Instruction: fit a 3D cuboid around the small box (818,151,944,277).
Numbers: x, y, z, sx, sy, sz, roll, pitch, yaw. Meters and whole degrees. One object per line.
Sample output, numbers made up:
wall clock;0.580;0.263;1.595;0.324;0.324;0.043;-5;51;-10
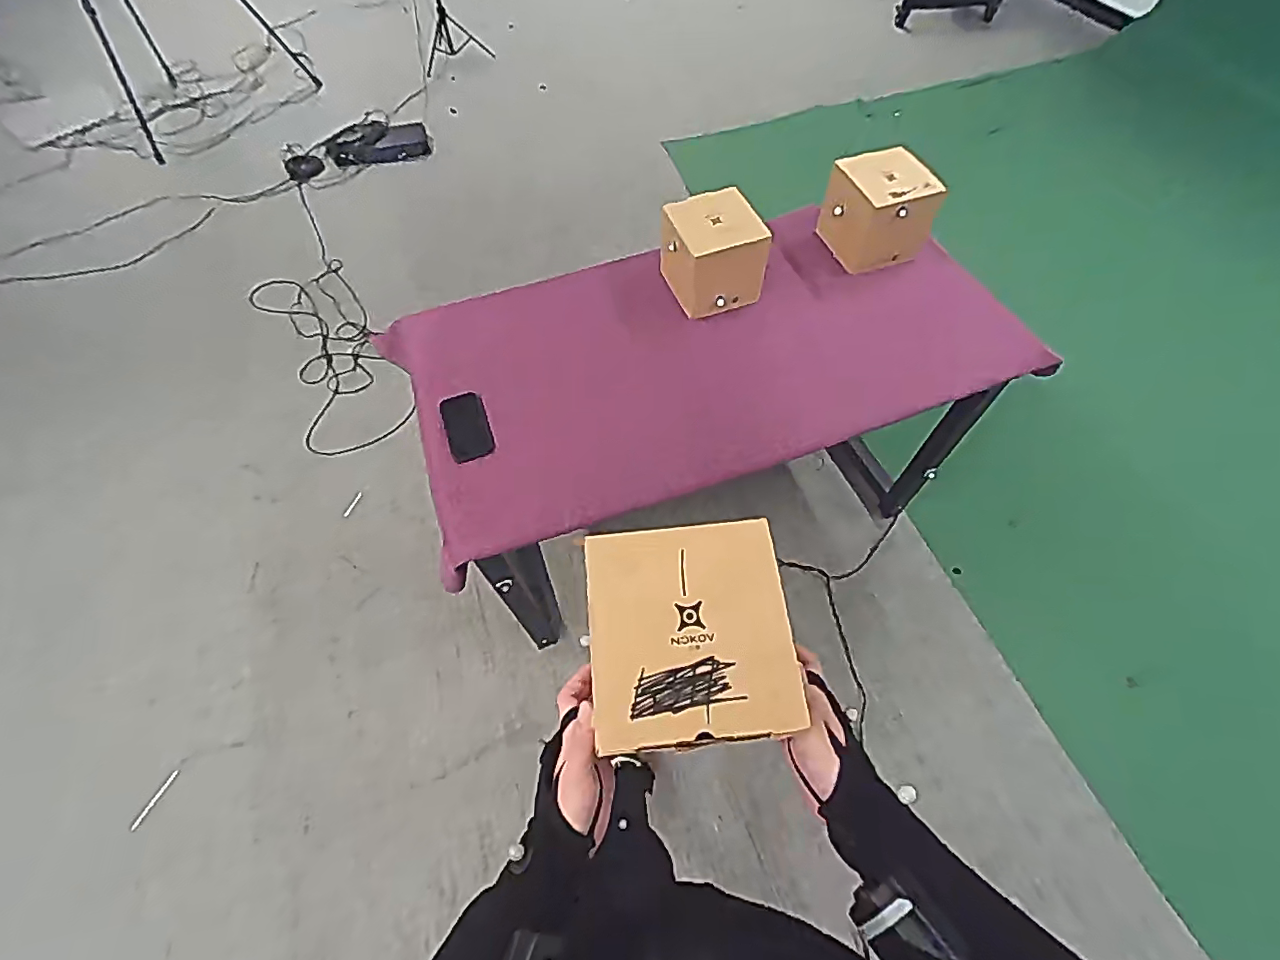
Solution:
small box;0.517;-0.583;1.192;0.168;0.176;0.179;-18;59;-6

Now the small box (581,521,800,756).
small box;0.038;0.155;0.516;0.168;0.176;0.179;-6;65;-1

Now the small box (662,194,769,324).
small box;0.149;-0.462;1.141;0.168;0.176;0.179;-18;61;-7
